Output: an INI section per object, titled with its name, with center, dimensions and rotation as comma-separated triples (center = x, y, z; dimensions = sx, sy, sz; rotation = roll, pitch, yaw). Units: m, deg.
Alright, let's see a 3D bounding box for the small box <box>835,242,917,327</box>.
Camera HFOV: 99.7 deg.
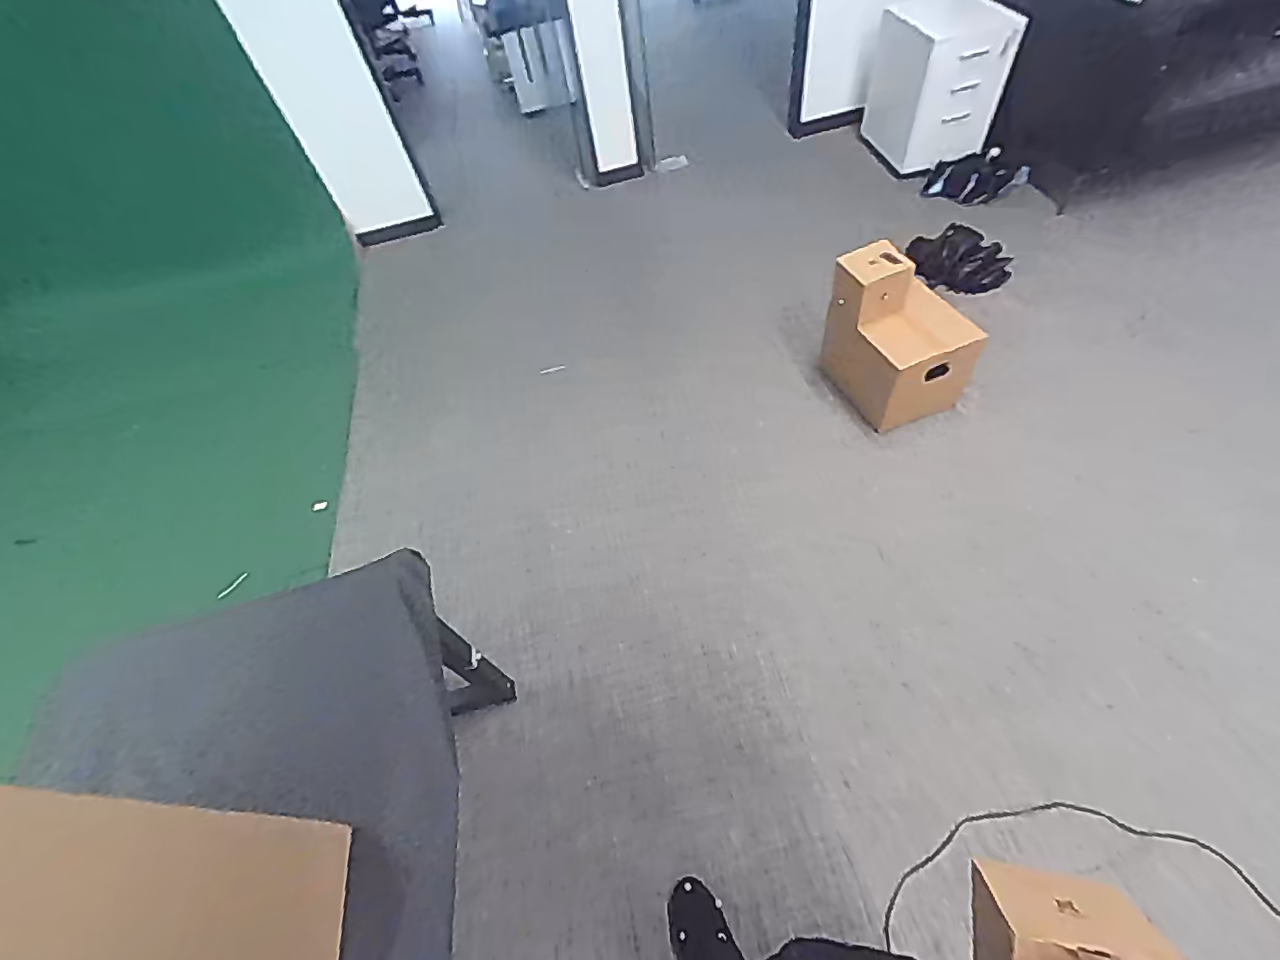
[small box]
center = 0.756, -0.631, 1.757
dimensions = 0.179, 0.176, 0.168
rotation = -22, 54, -1
